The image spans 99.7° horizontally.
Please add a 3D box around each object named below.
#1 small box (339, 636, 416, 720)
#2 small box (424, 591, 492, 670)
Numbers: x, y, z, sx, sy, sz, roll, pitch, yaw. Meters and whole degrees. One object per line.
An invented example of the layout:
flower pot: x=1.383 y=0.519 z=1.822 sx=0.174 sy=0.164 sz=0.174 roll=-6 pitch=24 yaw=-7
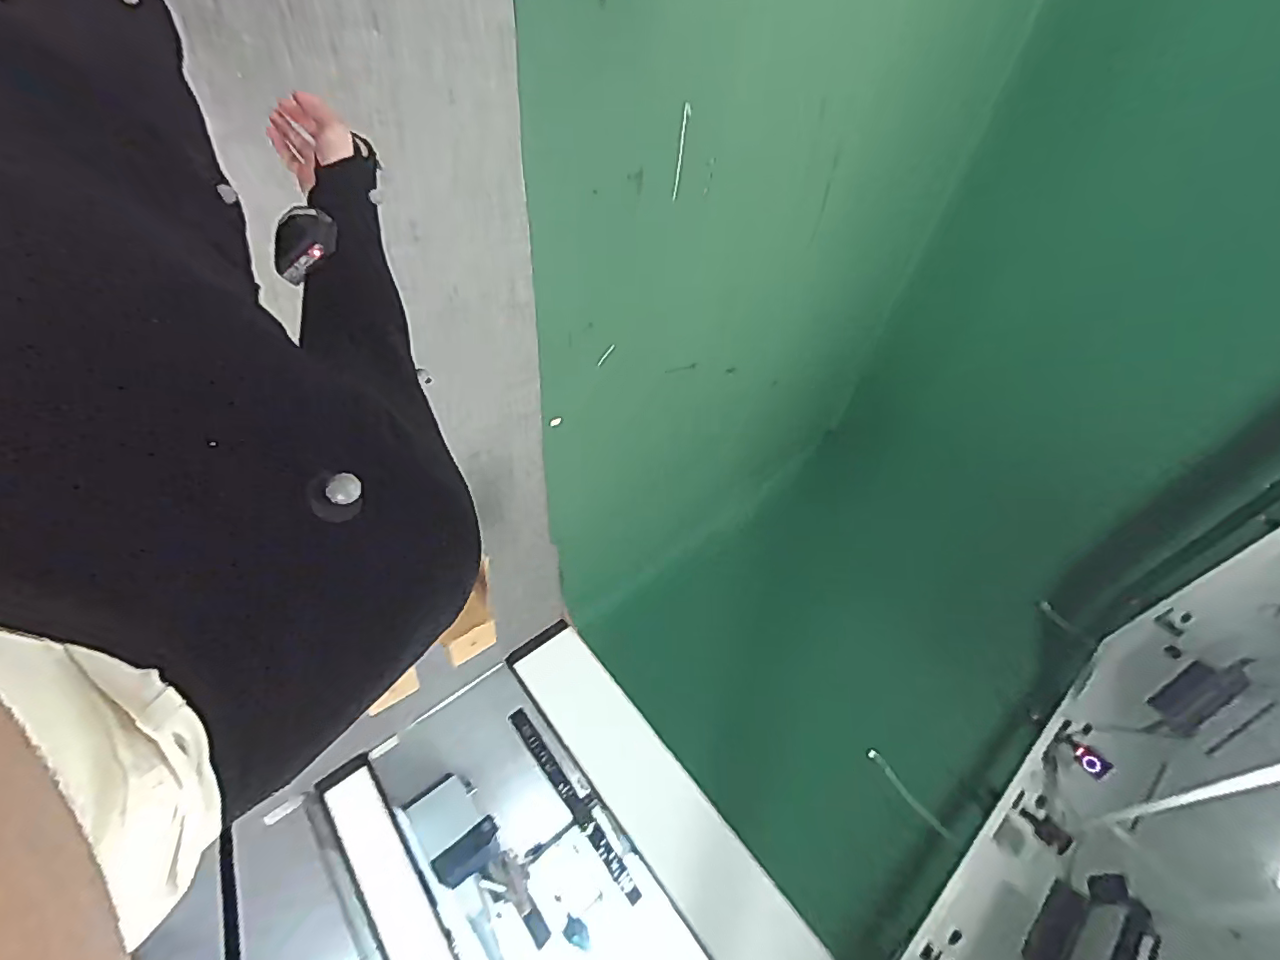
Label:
small box: x=-0.853 y=0.634 z=1.758 sx=0.168 sy=0.176 sz=0.179 roll=-25 pitch=146 yaw=-34
small box: x=-0.642 y=0.529 z=1.914 sx=0.168 sy=0.176 sz=0.179 roll=-27 pitch=146 yaw=-31
